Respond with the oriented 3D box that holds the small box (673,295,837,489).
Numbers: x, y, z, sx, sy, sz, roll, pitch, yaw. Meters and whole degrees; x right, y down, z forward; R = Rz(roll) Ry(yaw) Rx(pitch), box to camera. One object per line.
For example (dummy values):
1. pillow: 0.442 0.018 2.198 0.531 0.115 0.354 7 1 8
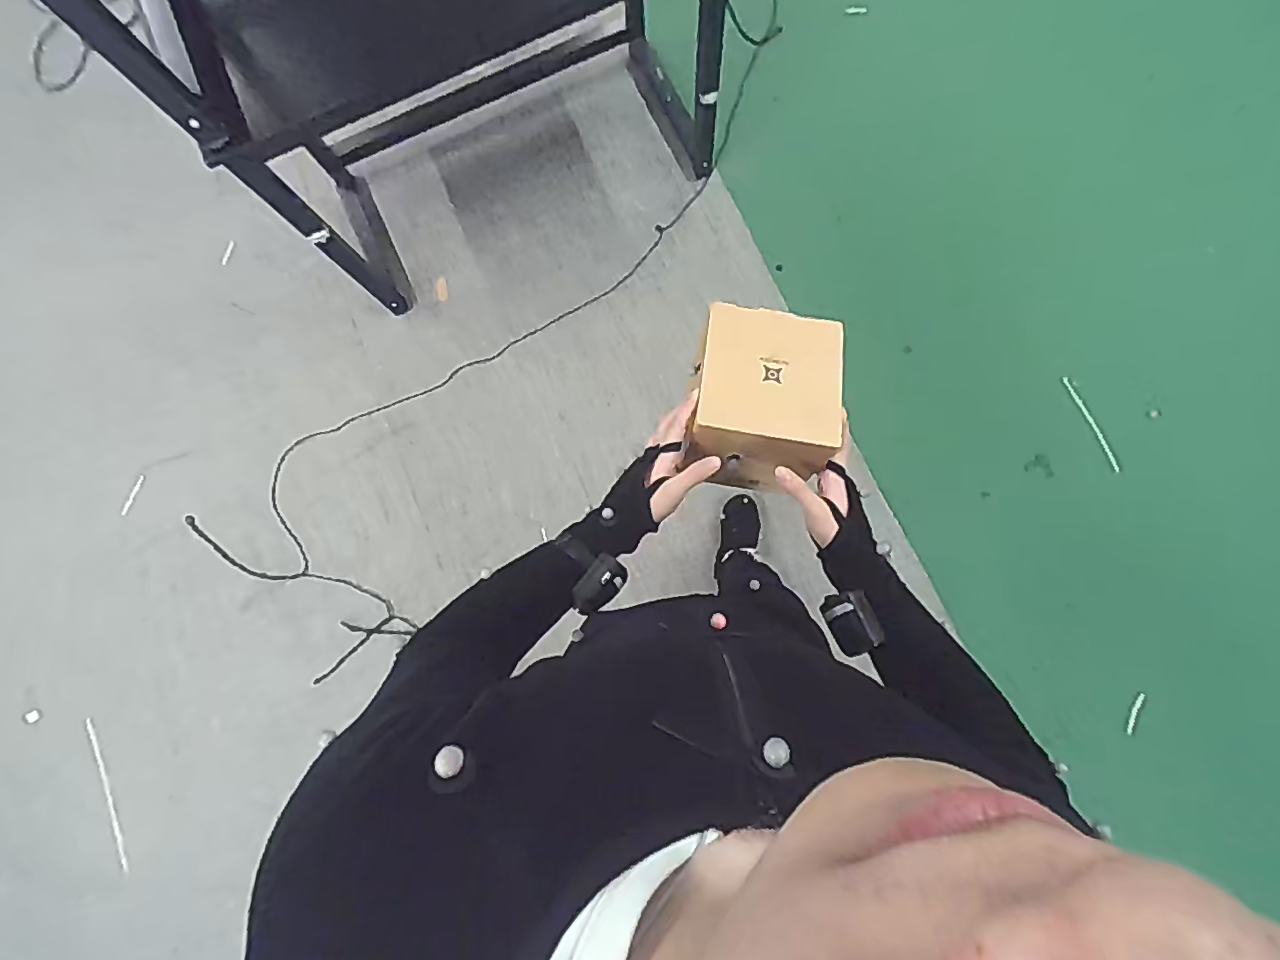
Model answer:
1. small box: 0.139 -0.102 0.693 0.168 0.176 0.179 9 67 -1
